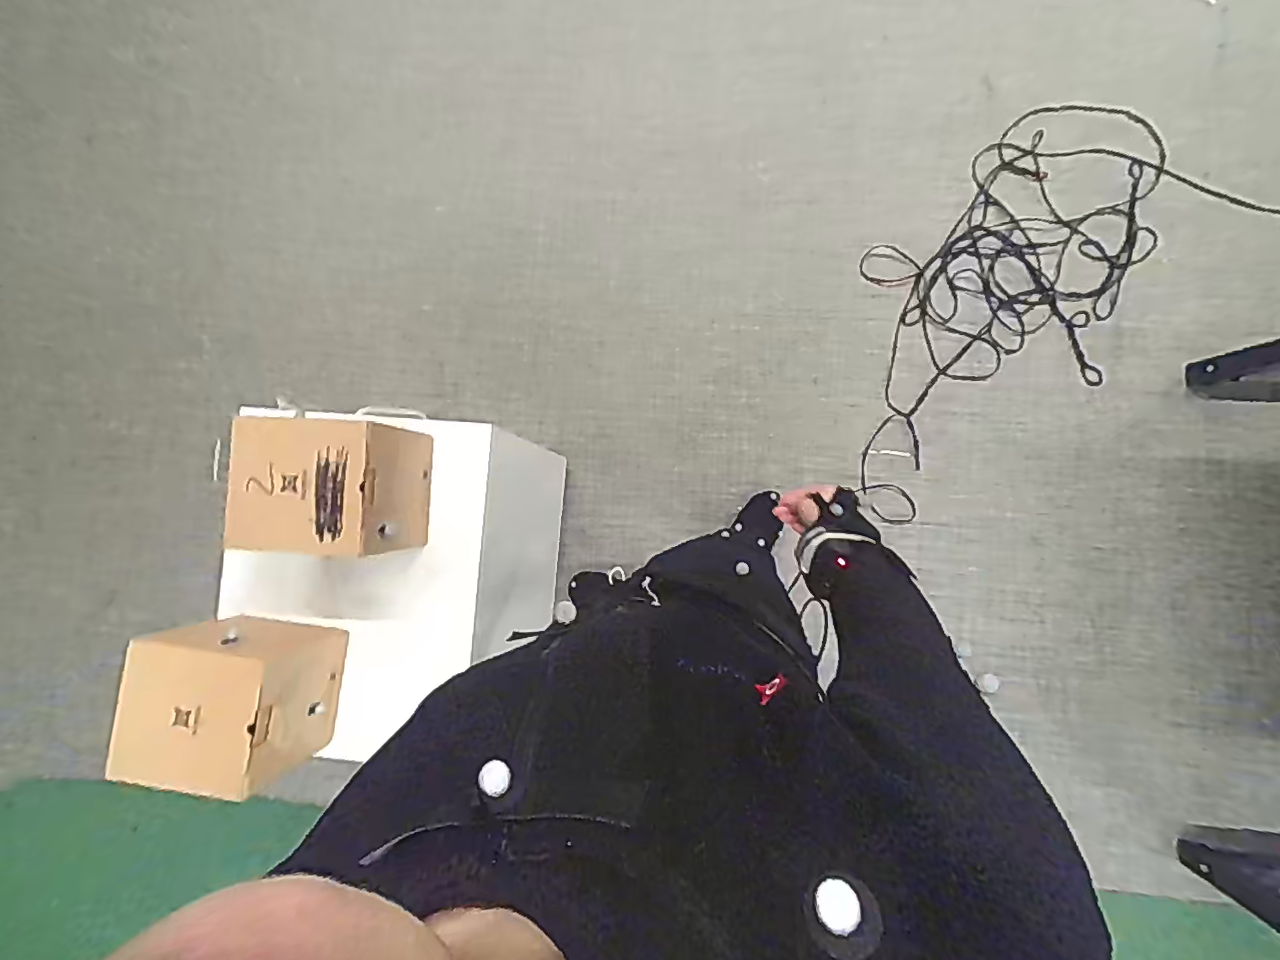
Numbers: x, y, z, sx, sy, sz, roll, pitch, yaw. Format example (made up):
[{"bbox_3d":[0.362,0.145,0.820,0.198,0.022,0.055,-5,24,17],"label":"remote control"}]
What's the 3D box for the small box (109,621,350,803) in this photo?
[{"bbox_3d":[-0.526,0.291,0.717,0.179,0.176,0.168,7,86,3],"label":"small box"}]
